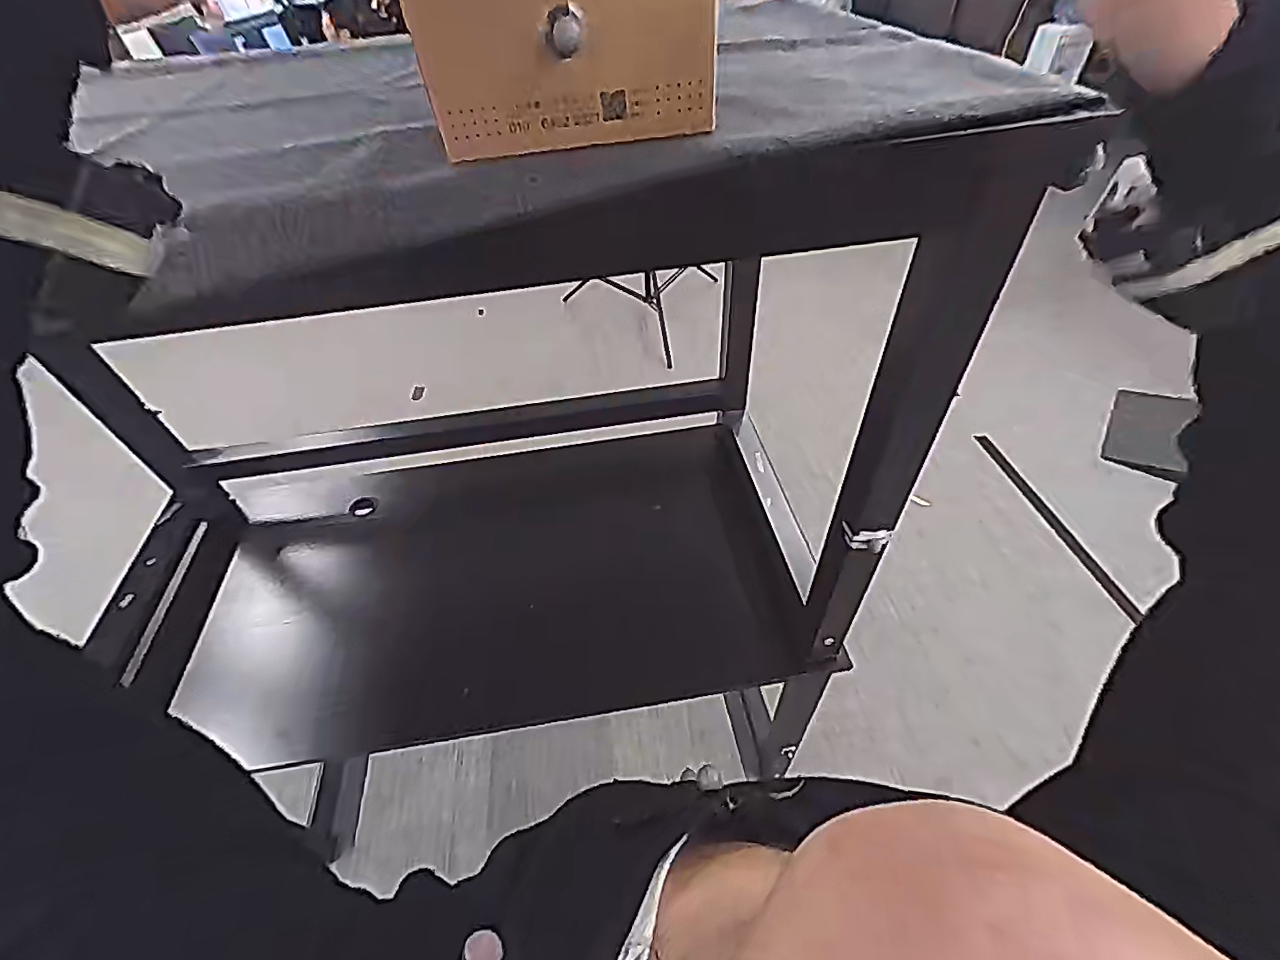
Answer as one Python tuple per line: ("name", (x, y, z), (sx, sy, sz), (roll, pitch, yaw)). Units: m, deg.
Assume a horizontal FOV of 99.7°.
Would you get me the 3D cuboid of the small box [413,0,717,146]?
("small box", (-0.050, -0.323, 0.328), (0.168, 0.176, 0.179), (-9, 47, -2))
